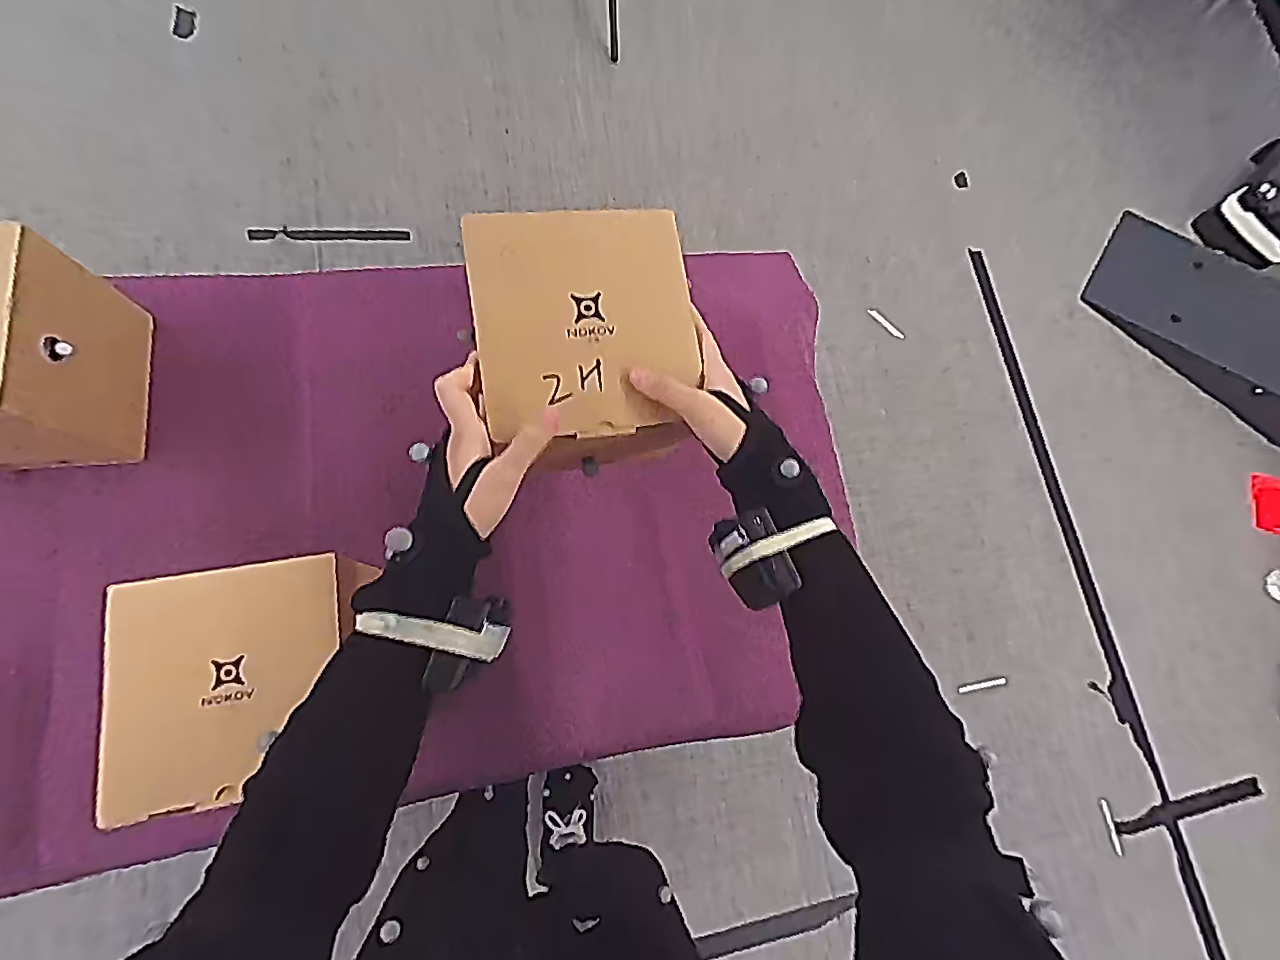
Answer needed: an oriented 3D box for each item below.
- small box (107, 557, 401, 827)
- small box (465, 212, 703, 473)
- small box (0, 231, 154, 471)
[{"bbox_3d":[-0.332,0.179,0.500,0.168,0.176,0.179,-8,77,-12],"label":"small box"},{"bbox_3d":[-0.058,-0.112,0.488,0.168,0.176,0.179,-8,84,-12],"label":"small box"},{"bbox_3d":[-0.614,-0.109,0.516,0.168,0.176,0.179,-5,78,-12],"label":"small box"}]
